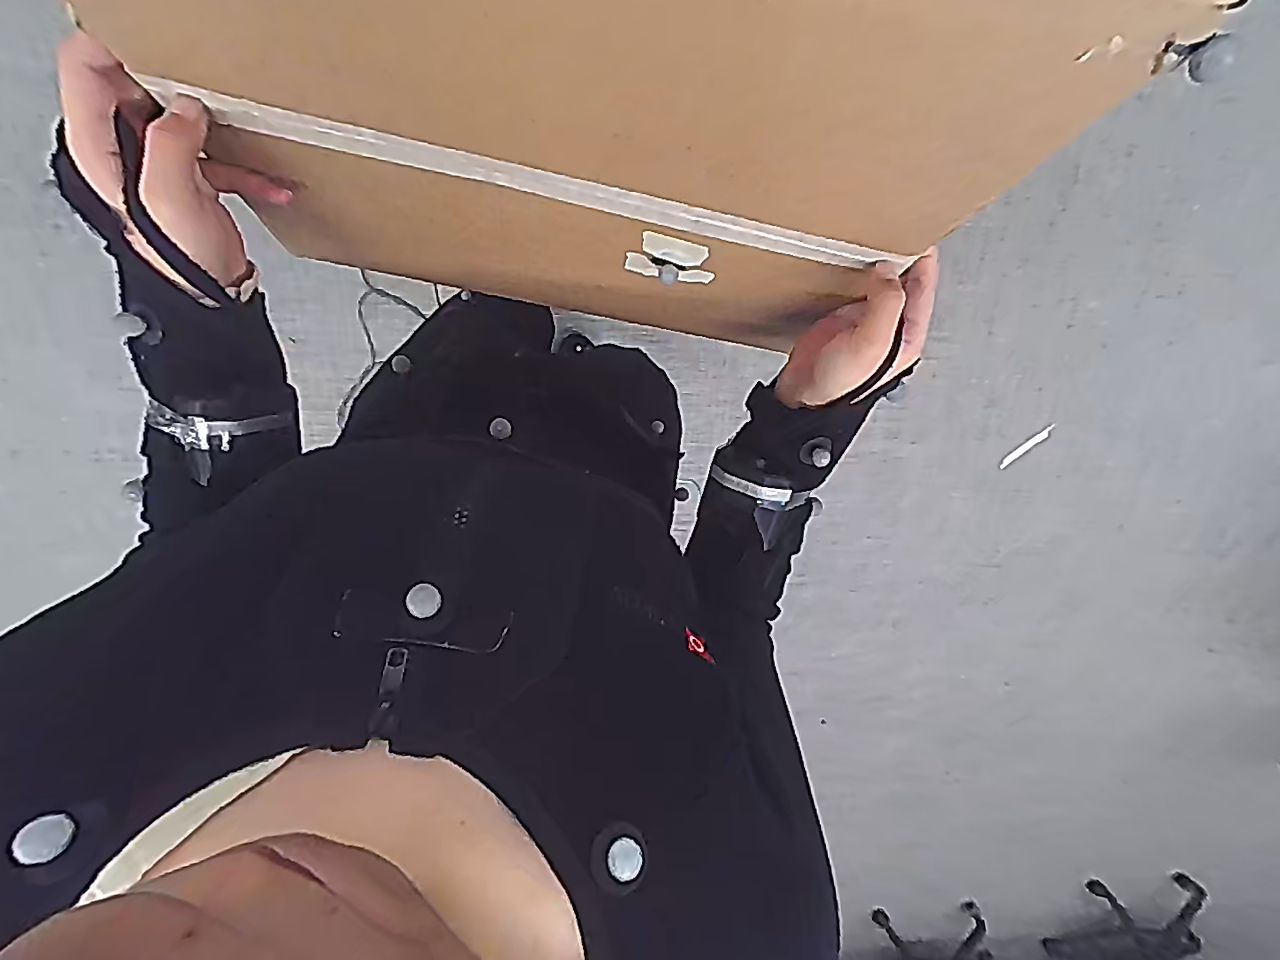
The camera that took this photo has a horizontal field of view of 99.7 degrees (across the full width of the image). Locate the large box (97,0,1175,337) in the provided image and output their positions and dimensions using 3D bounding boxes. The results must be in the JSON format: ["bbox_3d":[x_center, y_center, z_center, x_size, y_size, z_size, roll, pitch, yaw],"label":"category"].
[{"bbox_3d":[-0.023,-0.315,0.314,0.408,0.320,0.320,7,83,-9],"label":"large box"}]
